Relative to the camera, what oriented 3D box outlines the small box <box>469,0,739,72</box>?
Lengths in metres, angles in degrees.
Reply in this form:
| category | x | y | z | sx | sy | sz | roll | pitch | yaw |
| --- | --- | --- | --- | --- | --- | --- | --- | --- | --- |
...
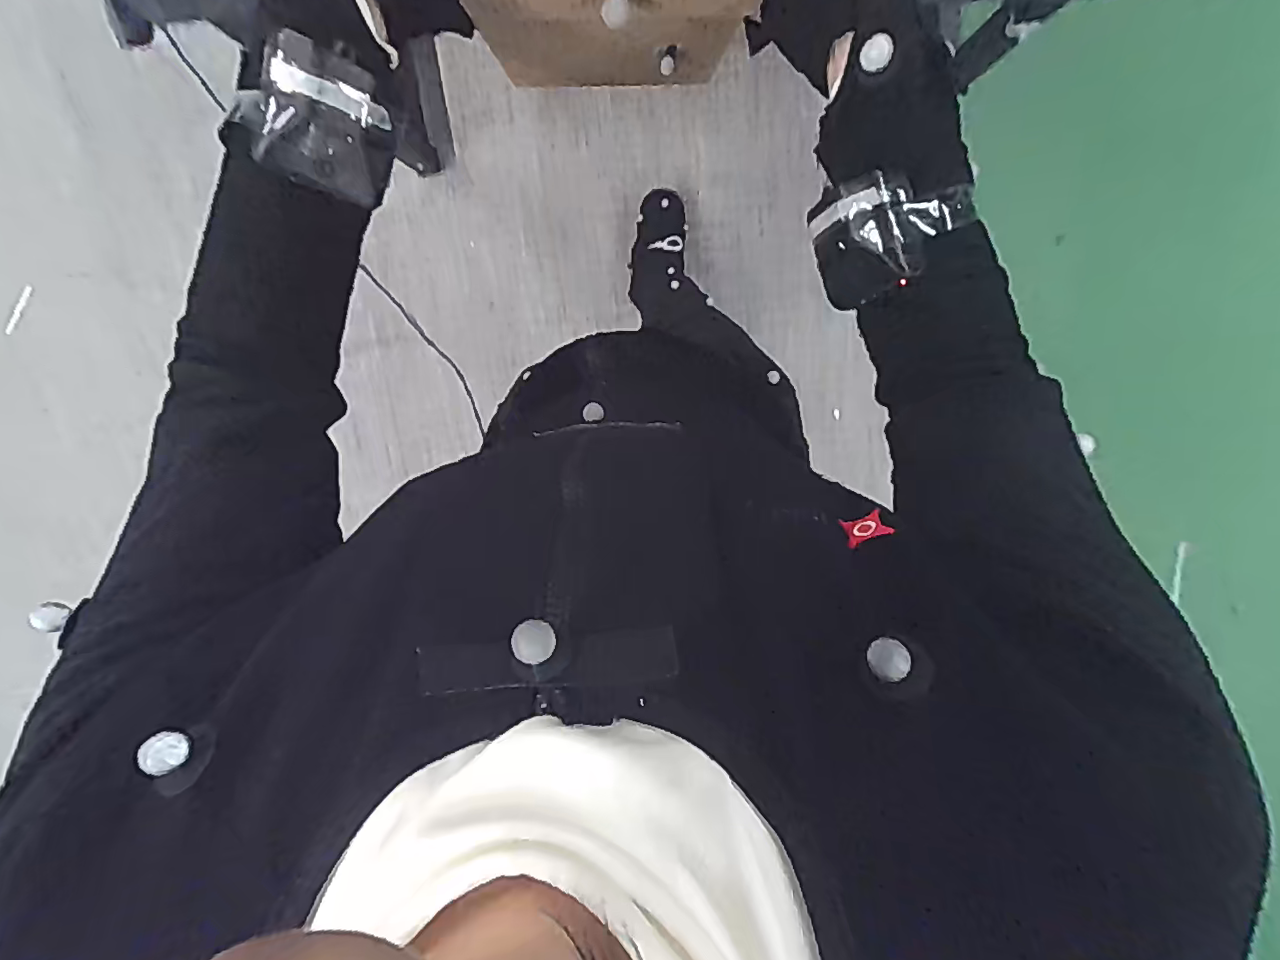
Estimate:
| category | x | y | z | sx | sy | sz | roll | pitch | yaw |
| --- | --- | --- | --- | --- | --- | --- | --- | --- | --- |
| small box | -0.026 | -0.402 | 0.367 | 0.179 | 0.176 | 0.168 | -2 | 112 | 0 |
